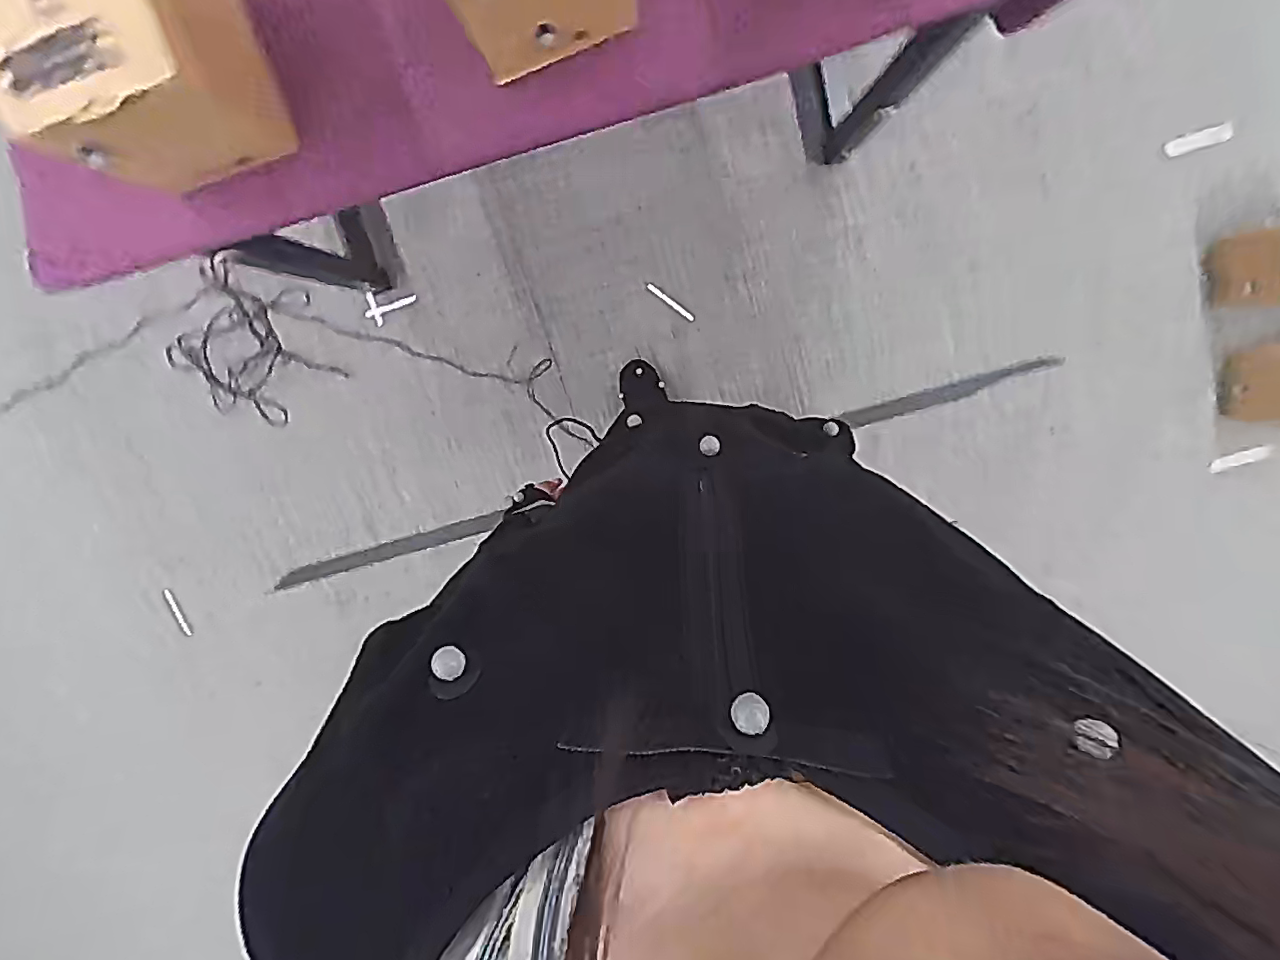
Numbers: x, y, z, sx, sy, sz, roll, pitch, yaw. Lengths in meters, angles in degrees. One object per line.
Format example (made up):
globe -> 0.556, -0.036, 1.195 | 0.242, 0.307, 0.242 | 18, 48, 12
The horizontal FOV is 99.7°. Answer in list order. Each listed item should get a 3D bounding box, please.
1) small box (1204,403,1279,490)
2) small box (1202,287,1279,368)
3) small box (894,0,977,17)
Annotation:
small box -> 1.570, -0.088, 1.343 | 0.168, 0.176, 0.179 | -7, 104, 2
small box -> 1.499, -0.364, 1.280 | 0.179, 0.176, 0.168 | -13, 104, 2
small box -> 0.331, -0.576, 0.481 | 0.168, 0.176, 0.179 | -11, 102, 4
